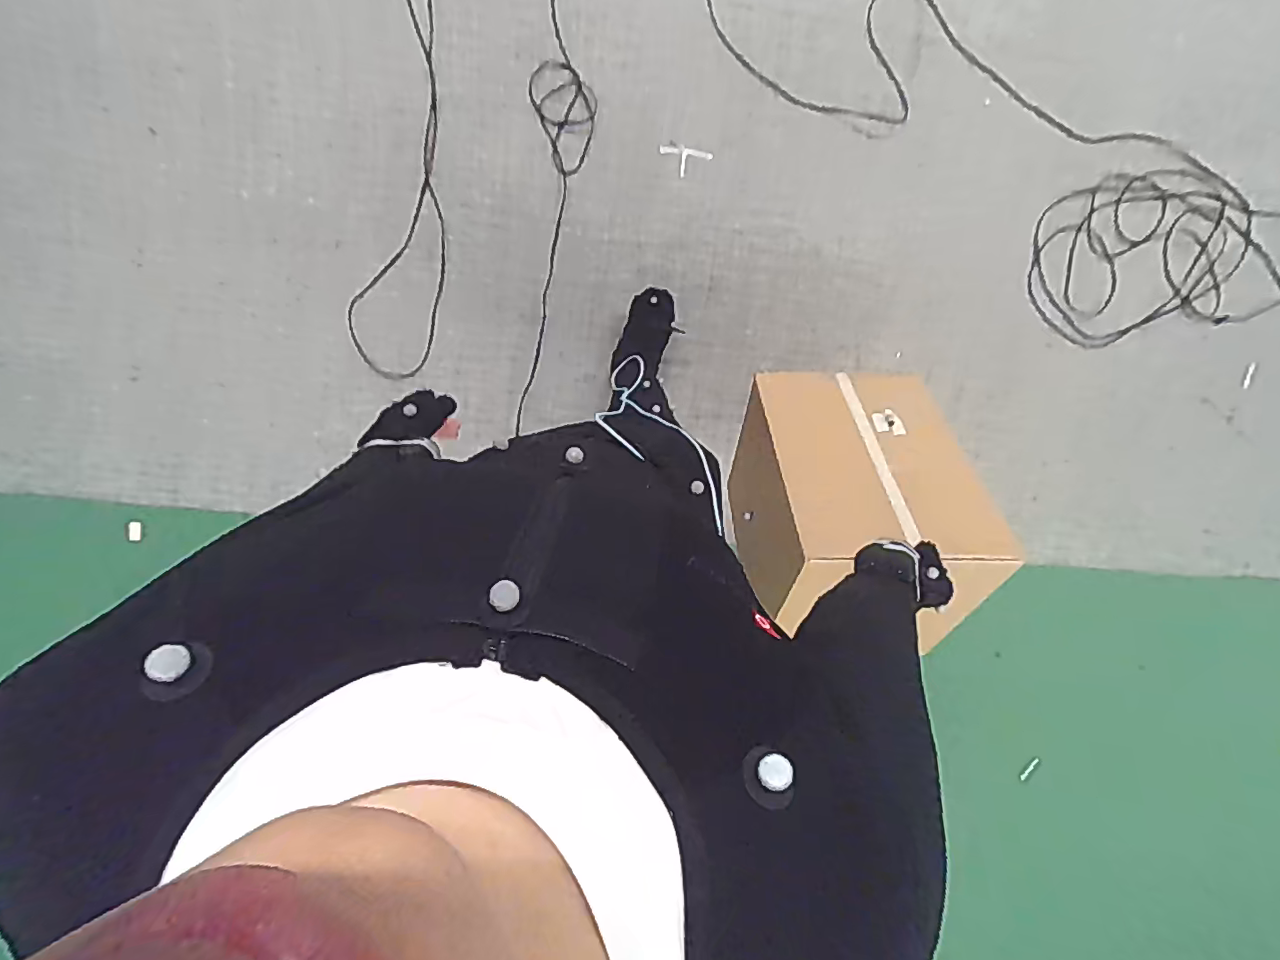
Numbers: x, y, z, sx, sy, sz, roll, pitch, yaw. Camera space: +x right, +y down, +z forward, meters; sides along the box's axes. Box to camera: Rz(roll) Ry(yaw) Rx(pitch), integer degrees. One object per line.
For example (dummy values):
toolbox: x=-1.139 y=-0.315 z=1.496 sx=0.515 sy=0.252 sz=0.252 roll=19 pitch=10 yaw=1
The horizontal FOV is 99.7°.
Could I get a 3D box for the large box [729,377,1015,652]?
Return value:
large box: x=0.363 y=0.059 z=0.989 sx=0.320 sy=0.408 sz=0.320 roll=1 pitch=137 yaw=-4
